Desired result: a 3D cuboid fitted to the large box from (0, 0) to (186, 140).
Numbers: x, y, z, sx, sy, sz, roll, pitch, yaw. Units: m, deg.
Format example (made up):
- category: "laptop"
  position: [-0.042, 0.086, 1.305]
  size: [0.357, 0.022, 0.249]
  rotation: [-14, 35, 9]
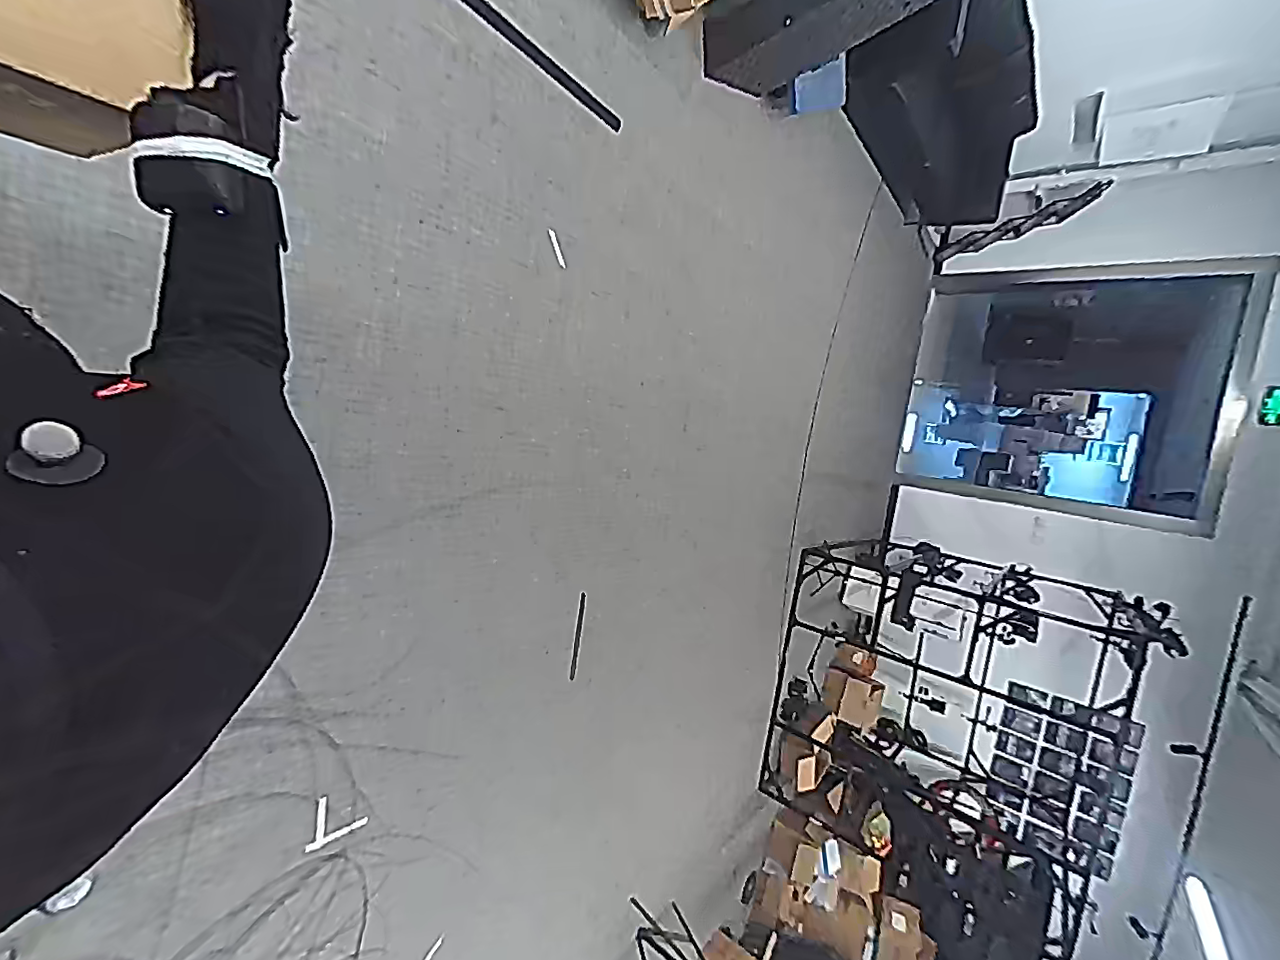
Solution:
- category: "large box"
  position: [-0.536, -0.436, 0.280]
  size: [0.408, 0.320, 0.320]
  rotation: [-5, 111, -56]
